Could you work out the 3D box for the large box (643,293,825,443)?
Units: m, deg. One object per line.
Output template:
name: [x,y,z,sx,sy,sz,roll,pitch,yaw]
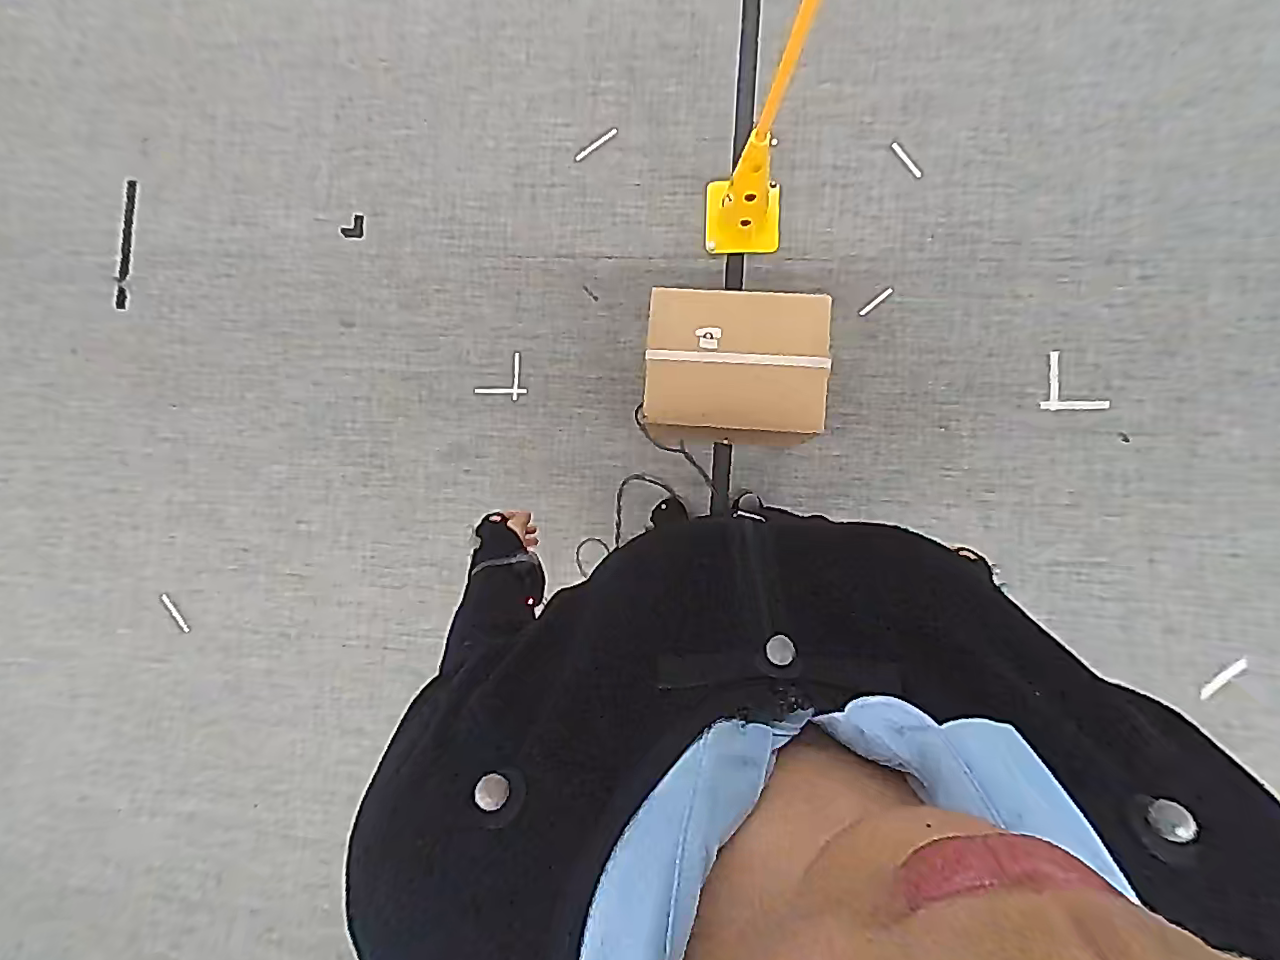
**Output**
large box: [0.225,-0.265,1.369,0.408,0.320,0.320,3,87,5]
